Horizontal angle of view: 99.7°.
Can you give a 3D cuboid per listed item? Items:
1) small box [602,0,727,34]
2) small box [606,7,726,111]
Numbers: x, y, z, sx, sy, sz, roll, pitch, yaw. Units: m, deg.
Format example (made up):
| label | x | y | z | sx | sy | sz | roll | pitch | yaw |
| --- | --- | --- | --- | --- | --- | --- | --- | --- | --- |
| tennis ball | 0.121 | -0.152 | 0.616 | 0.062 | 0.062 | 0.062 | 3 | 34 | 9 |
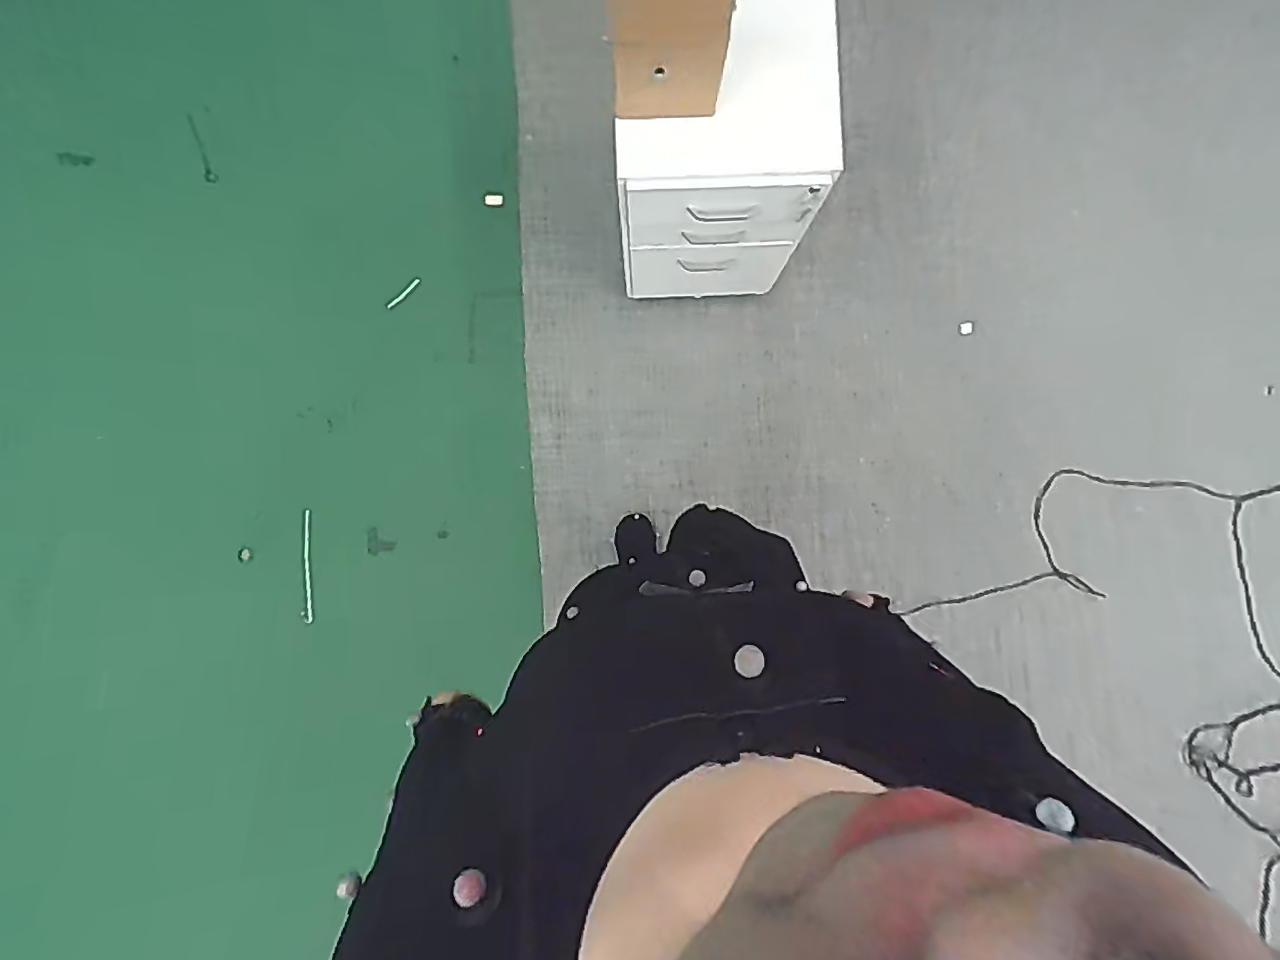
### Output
| label | x | y | z | sx | sy | sz | roll | pitch | yaw |
| --- | --- | --- | --- | --- | --- | --- | --- | --- | --- |
| small box | 0.033 | -0.722 | 0.698 | 0.179 | 0.176 | 0.168 | -3 | 88 | -1 |
| small box | 0.037 | -0.723 | 0.861 | 0.179 | 0.176 | 0.168 | -2 | 88 | 0 |
